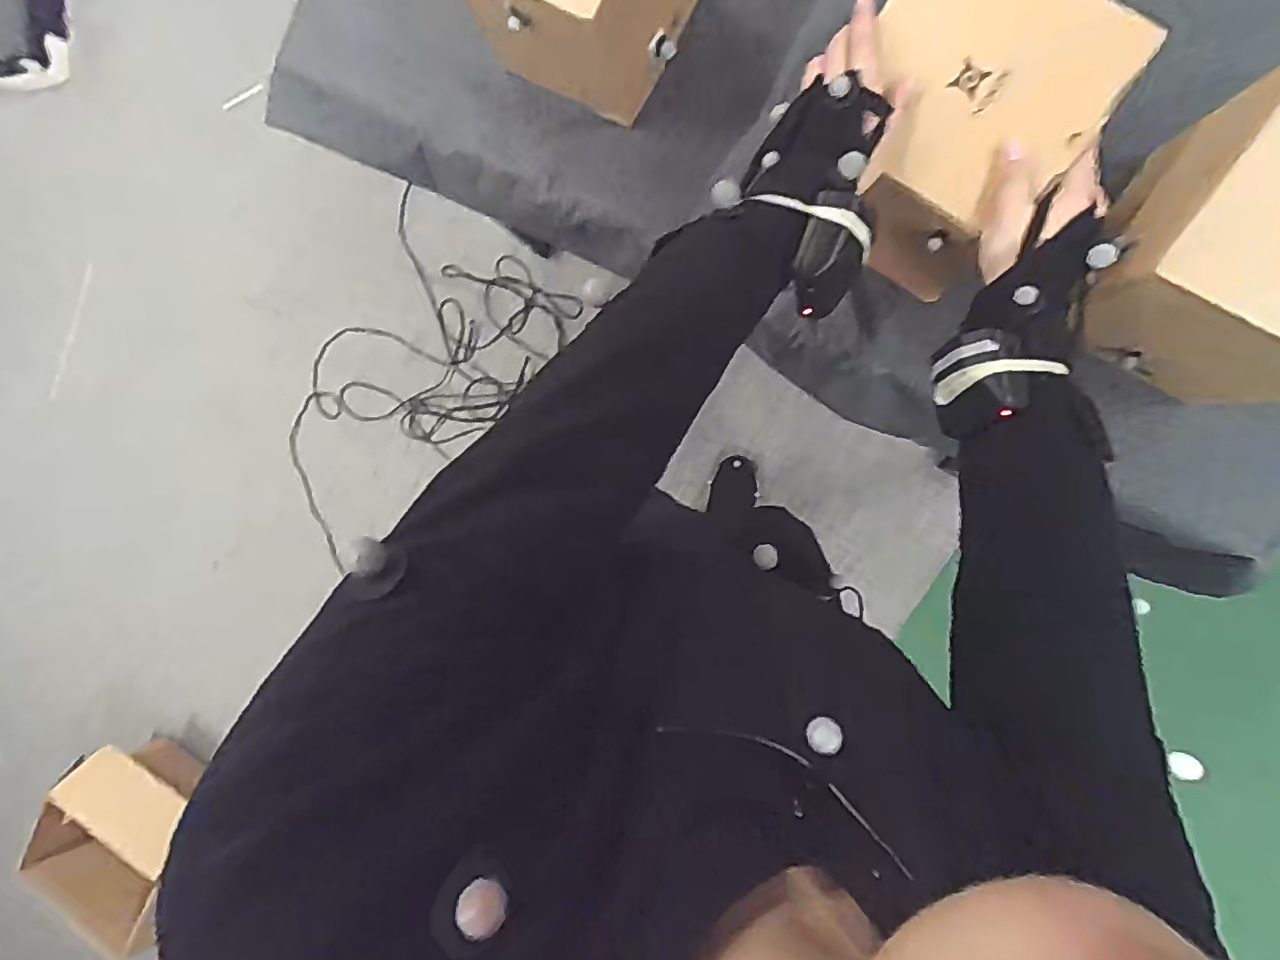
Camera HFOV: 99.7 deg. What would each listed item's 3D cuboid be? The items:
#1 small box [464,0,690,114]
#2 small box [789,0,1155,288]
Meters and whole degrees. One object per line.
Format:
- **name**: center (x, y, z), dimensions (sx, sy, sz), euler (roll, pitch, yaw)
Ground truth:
- **small box**: center (-0.065, -0.490, 0.504), dimensions (0.179, 0.176, 0.168), euler (30, 101, 6)
- **small box**: center (0.247, -0.293, 0.463), dimensions (0.179, 0.176, 0.168), euler (36, 100, 6)
